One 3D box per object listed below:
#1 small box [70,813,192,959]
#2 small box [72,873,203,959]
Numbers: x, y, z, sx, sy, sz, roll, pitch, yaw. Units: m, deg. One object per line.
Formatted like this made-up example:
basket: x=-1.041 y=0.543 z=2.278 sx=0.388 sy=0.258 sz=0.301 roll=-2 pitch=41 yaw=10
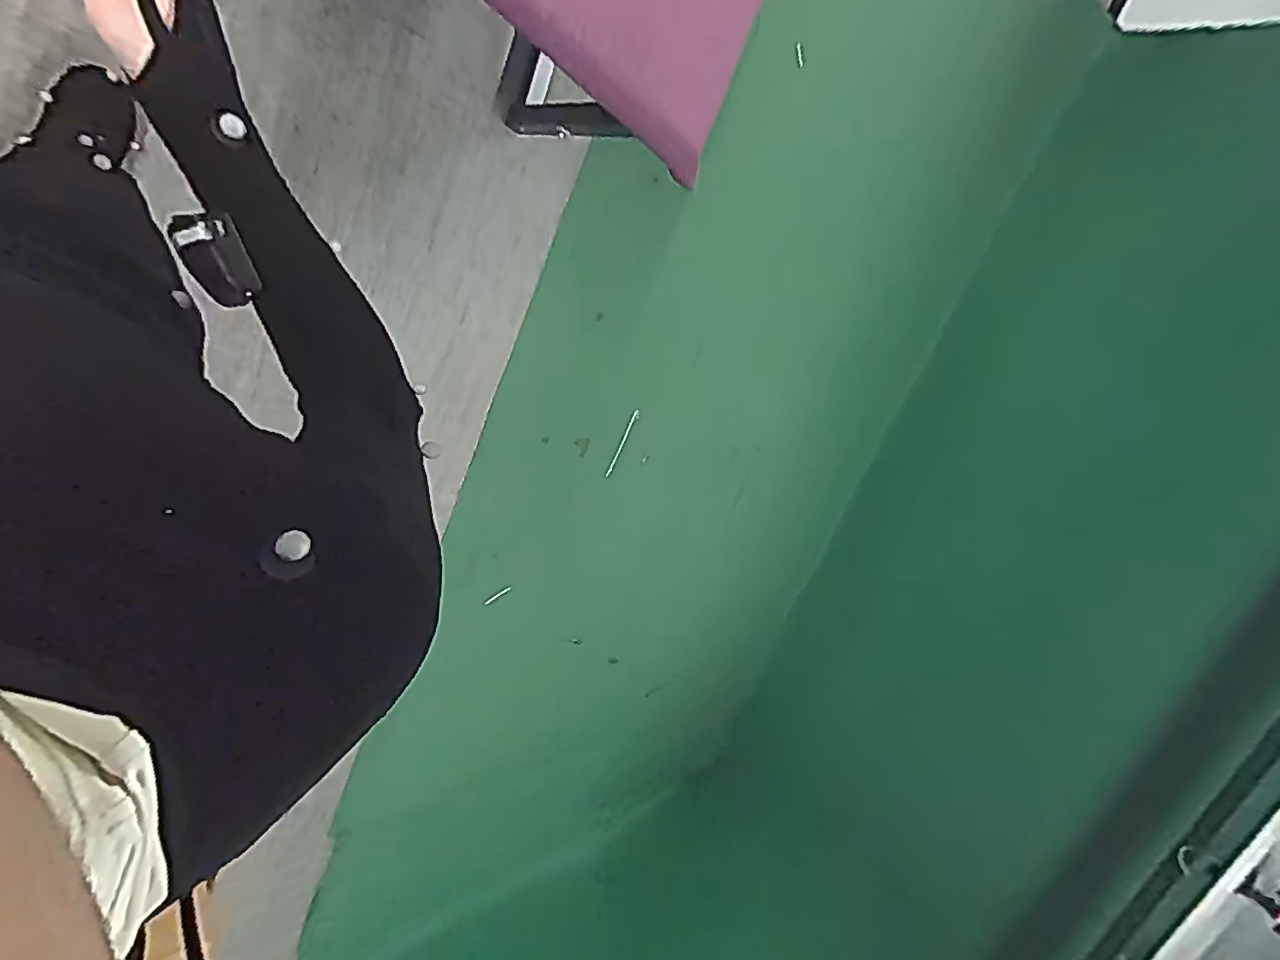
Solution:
small box: x=-1.146 y=0.902 z=1.219 sx=0.168 sy=0.176 sz=0.179 roll=14 pitch=106 yaw=-50
small box: x=-1.040 y=0.974 z=1.117 sx=0.168 sy=0.176 sz=0.179 roll=17 pitch=103 yaw=-50
